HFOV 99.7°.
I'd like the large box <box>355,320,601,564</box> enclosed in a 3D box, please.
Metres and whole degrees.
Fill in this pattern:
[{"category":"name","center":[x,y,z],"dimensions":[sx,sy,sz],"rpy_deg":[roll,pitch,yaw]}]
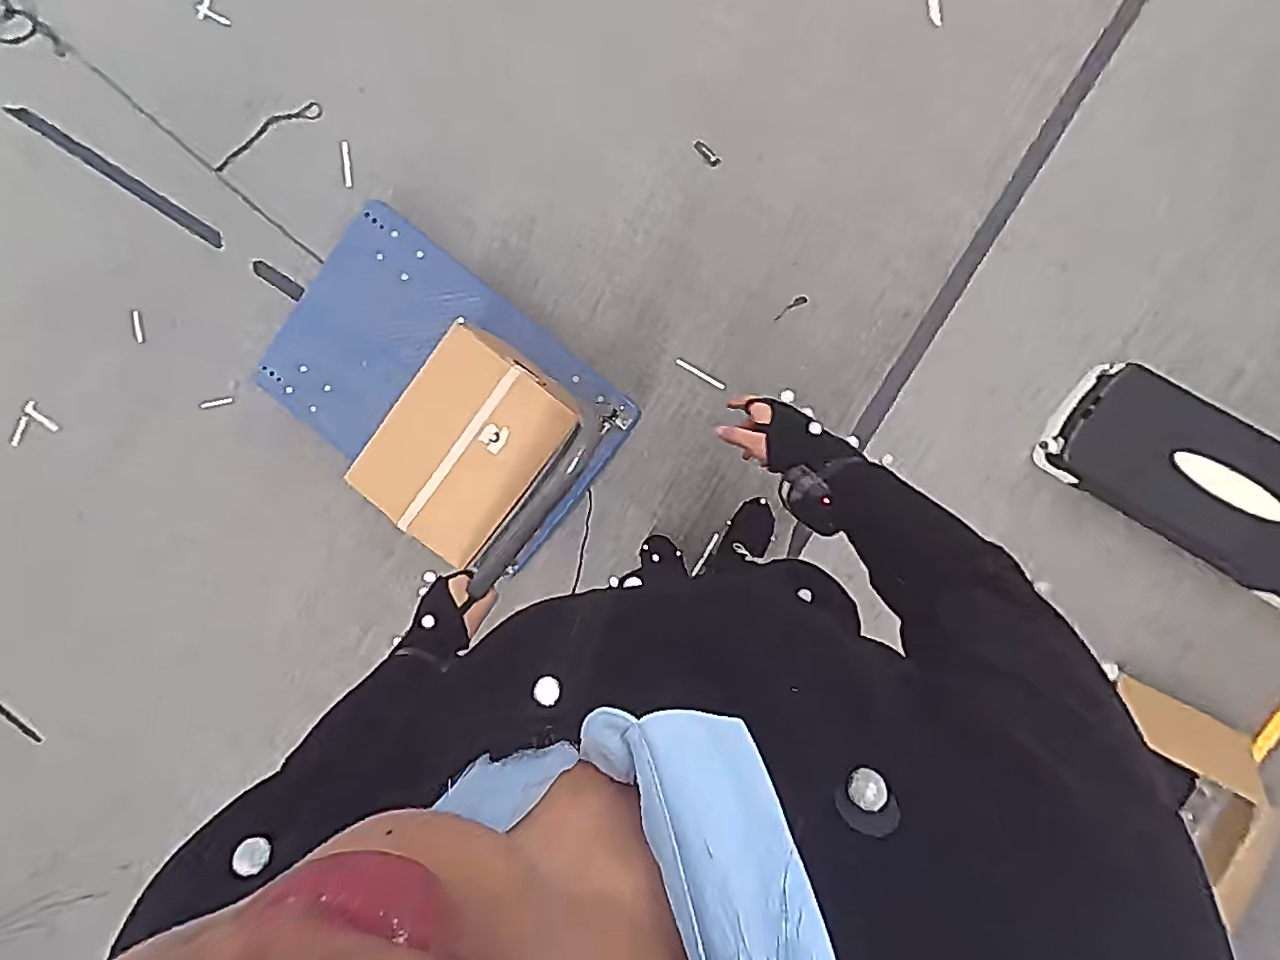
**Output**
[{"category":"large box","center":[-0.343,-0.082,1.240],"dimensions":[0.320,0.320,0.408],"rpy_deg":[39,96,-1]}]
